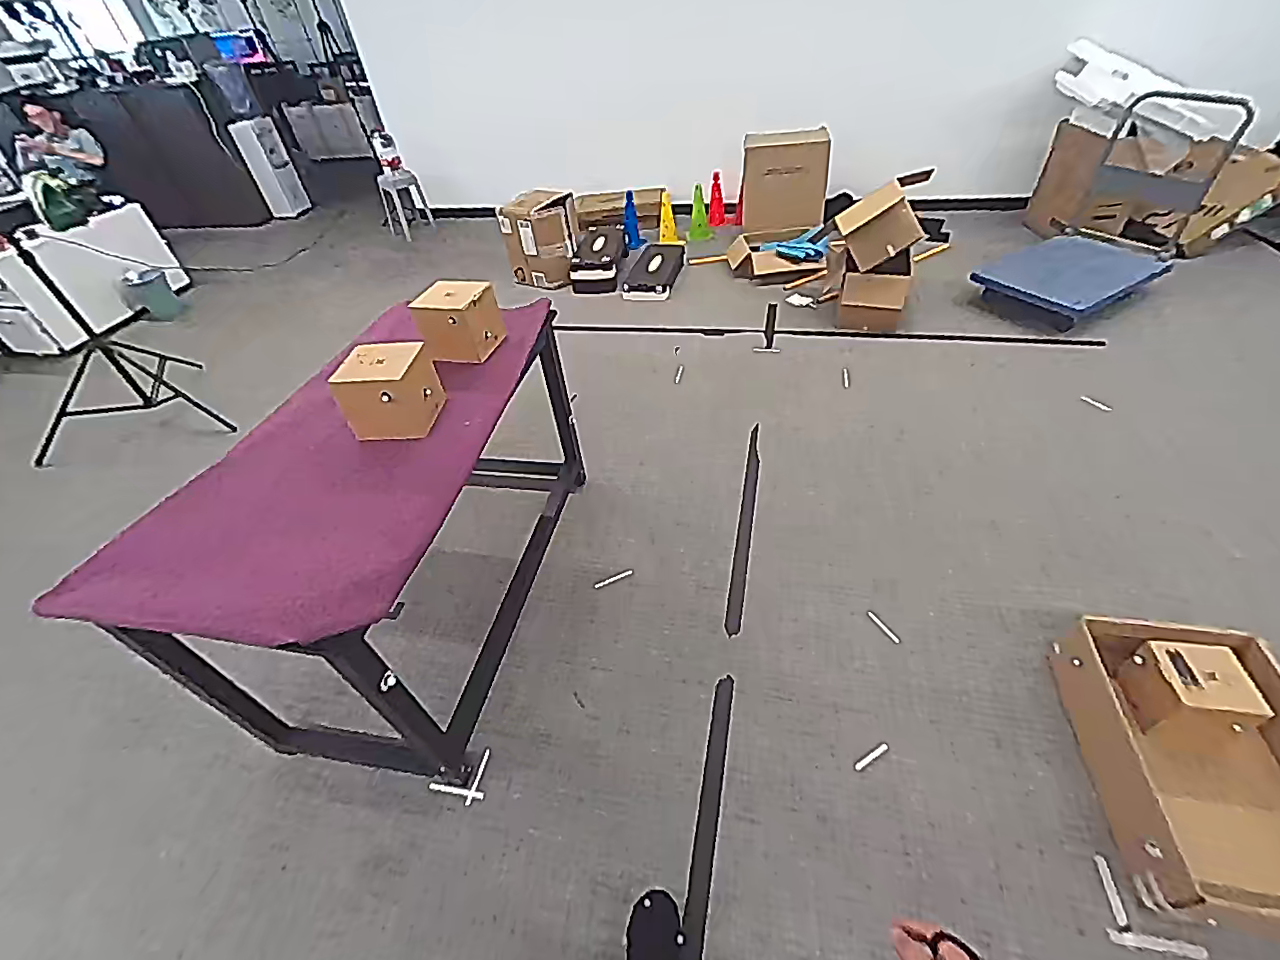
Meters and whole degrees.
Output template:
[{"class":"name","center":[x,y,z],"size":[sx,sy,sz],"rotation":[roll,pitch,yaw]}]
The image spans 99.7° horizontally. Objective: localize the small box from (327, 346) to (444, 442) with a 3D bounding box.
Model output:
[{"class":"small box","center":[-0.598,-0.204,1.302],"size":[0.179,0.176,0.168],"rotation":[-2,43,6]}]

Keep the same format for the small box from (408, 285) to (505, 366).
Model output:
[{"class":"small box","center":[-0.515,-0.440,1.541],"size":[0.179,0.176,0.168],"rotation":[7,45,16]}]
